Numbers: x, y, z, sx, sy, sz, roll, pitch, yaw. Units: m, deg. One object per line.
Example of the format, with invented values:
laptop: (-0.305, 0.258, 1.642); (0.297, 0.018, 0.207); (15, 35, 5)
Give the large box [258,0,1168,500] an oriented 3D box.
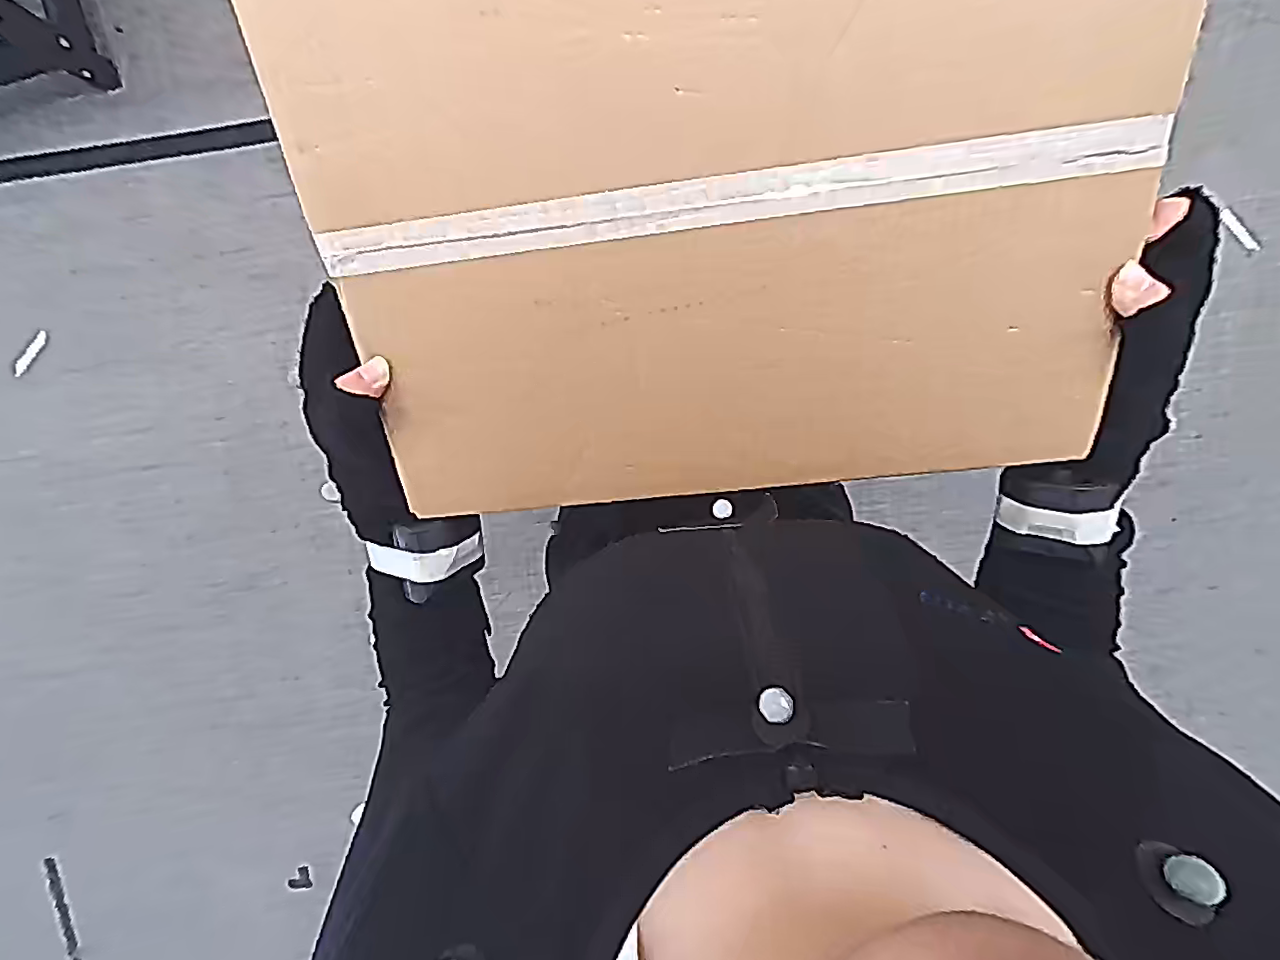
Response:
large box: (0.039, -0.207, 0.406); (0.408, 0.320, 0.320); (-6, 116, 4)
